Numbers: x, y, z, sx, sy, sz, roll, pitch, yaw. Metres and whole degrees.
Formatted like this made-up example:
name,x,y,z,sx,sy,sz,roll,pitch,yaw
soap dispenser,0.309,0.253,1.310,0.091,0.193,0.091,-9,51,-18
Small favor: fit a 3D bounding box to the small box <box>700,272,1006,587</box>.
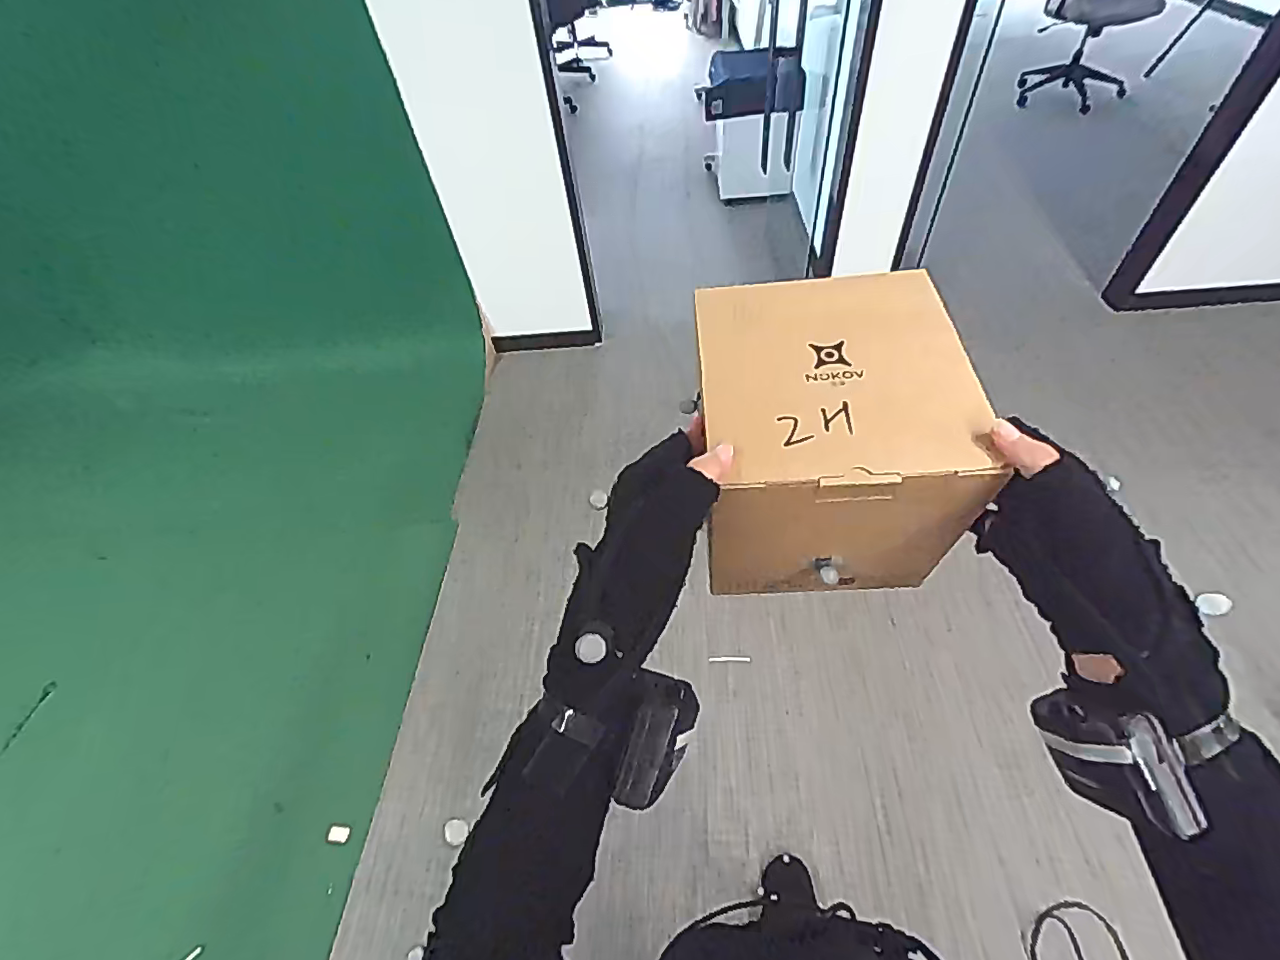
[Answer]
name,x,y,z,sx,sy,sz,roll,pitch,yaw
small box,0.132,-0.031,0.419,0.168,0.176,0.179,-3,57,6
